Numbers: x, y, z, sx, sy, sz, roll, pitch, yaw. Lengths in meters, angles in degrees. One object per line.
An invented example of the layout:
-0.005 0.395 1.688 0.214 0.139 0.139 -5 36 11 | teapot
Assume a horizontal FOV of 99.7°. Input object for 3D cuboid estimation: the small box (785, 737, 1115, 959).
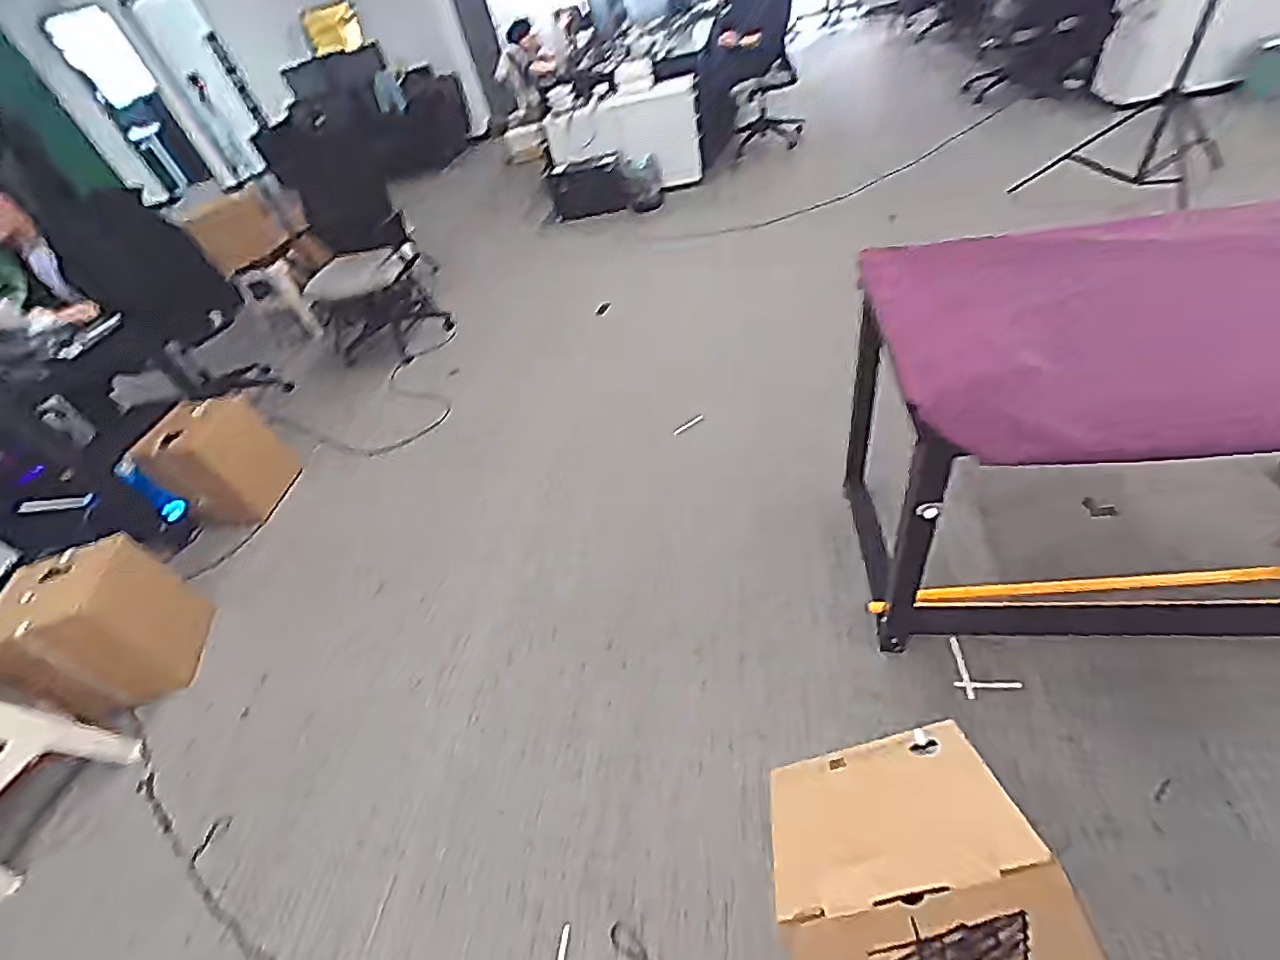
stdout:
0.212 0.312 0.388 0.168 0.179 0.176 -23 -2 14 | small box
